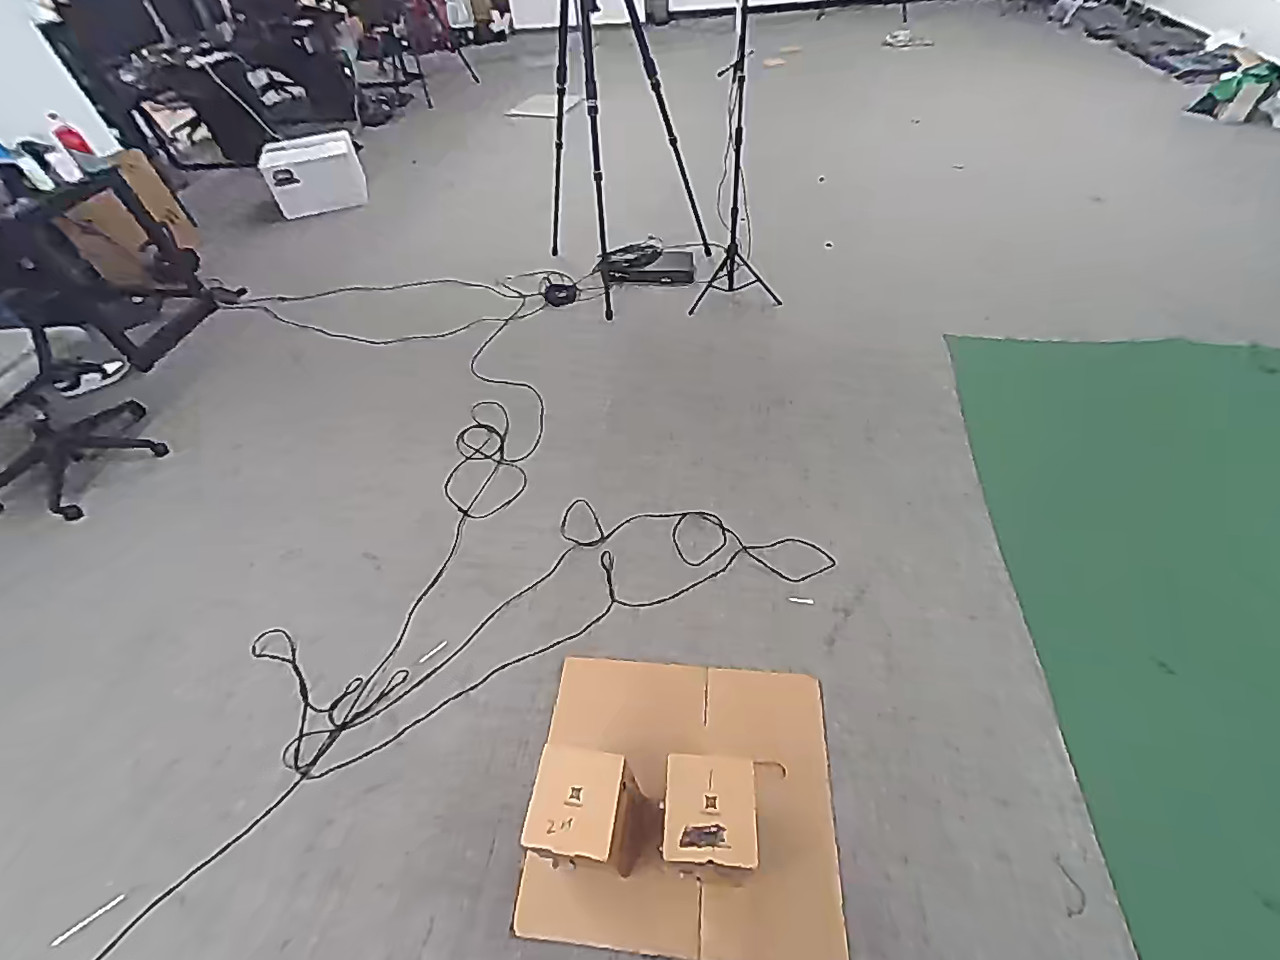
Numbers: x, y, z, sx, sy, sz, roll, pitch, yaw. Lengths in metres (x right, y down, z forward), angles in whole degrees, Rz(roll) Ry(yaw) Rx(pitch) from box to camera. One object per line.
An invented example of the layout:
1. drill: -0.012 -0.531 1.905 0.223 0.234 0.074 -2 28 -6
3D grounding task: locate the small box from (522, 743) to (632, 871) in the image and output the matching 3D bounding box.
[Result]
1. small box: -0.113 0.647 1.070 0.168 0.176 0.179 3 50 10

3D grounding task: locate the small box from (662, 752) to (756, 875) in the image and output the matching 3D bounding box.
1. small box: 0.134 0.648 1.046 0.168 0.176 0.179 1 49 6

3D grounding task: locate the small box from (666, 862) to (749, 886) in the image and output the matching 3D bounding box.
1. small box: 0.144 0.756 1.170 0.168 0.176 0.179 1 50 7
